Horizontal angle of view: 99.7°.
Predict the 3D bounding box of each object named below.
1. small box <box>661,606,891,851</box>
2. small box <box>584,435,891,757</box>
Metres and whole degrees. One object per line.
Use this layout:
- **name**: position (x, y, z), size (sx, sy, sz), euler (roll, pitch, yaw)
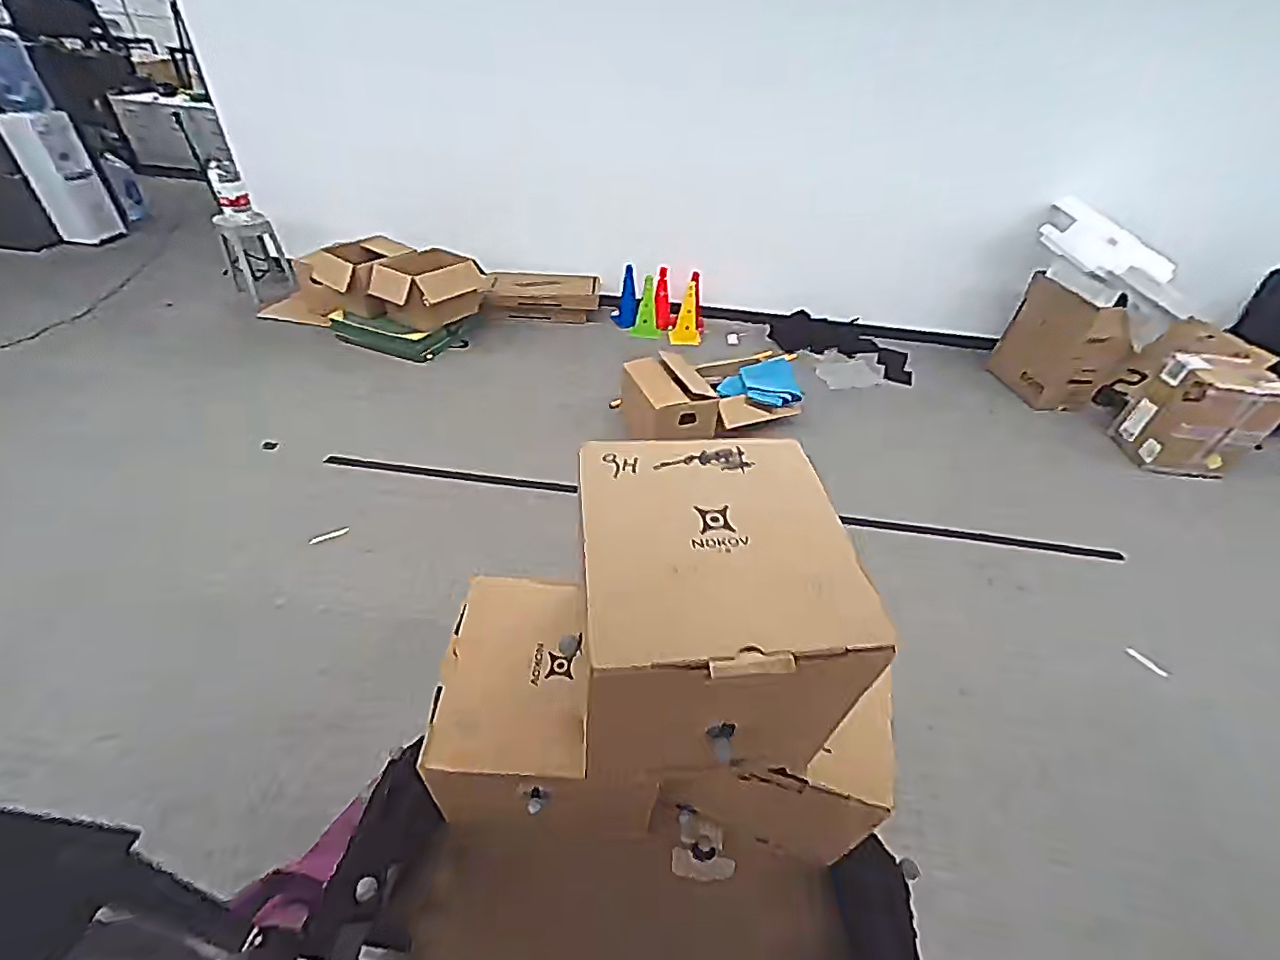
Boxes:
- **small box**: position (0.122, 0.211, 0.511), size (0.168, 0.176, 0.179), euler (16, 43, 11)
- **small box**: position (0.044, 0.087, 0.397), size (0.168, 0.176, 0.179), euler (-1, 44, -8)
